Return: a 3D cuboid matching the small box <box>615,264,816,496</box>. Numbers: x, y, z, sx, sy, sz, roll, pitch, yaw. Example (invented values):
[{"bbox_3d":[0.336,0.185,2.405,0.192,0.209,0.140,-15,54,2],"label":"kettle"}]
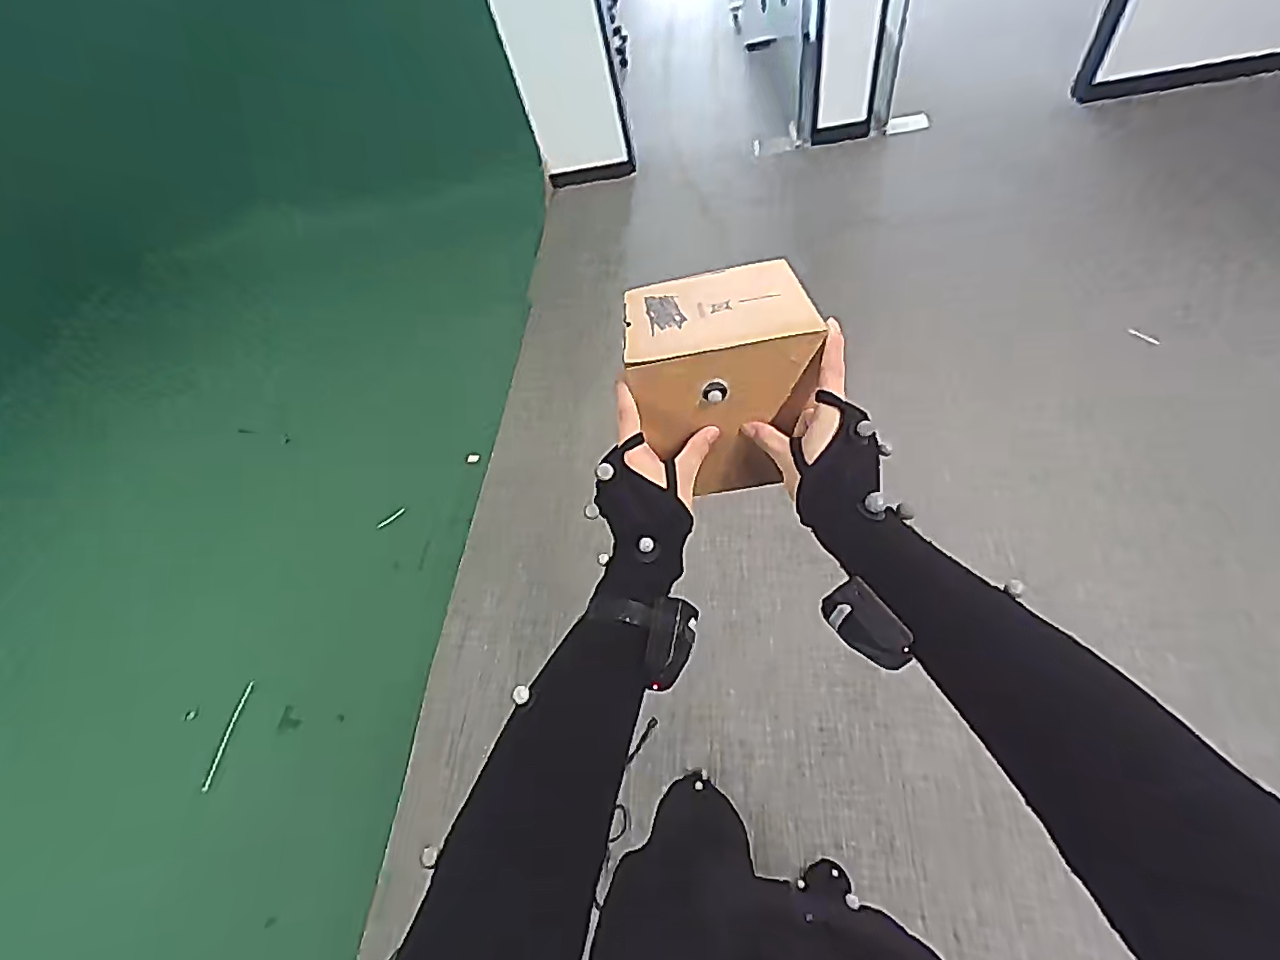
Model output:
[{"bbox_3d":[0.079,-0.101,0.569,0.179,0.176,0.168,-10,40,6],"label":"small box"}]
